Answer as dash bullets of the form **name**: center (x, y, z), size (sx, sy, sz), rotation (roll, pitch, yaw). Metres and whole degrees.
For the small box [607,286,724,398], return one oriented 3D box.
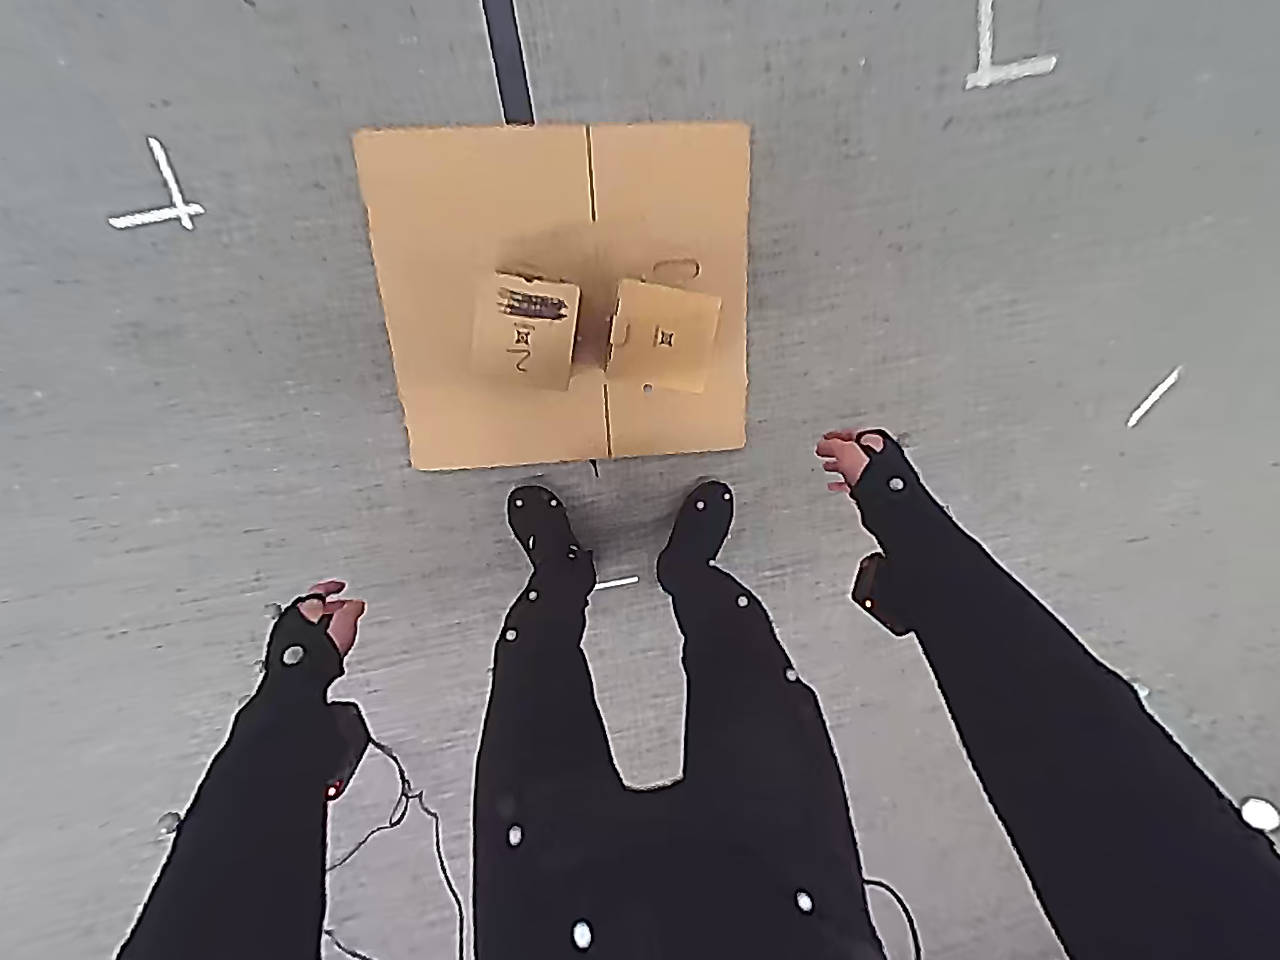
- **small box**: center (0.038, -0.257, 0.997), size (0.179, 0.176, 0.168), rotation (7, 107, -7)
